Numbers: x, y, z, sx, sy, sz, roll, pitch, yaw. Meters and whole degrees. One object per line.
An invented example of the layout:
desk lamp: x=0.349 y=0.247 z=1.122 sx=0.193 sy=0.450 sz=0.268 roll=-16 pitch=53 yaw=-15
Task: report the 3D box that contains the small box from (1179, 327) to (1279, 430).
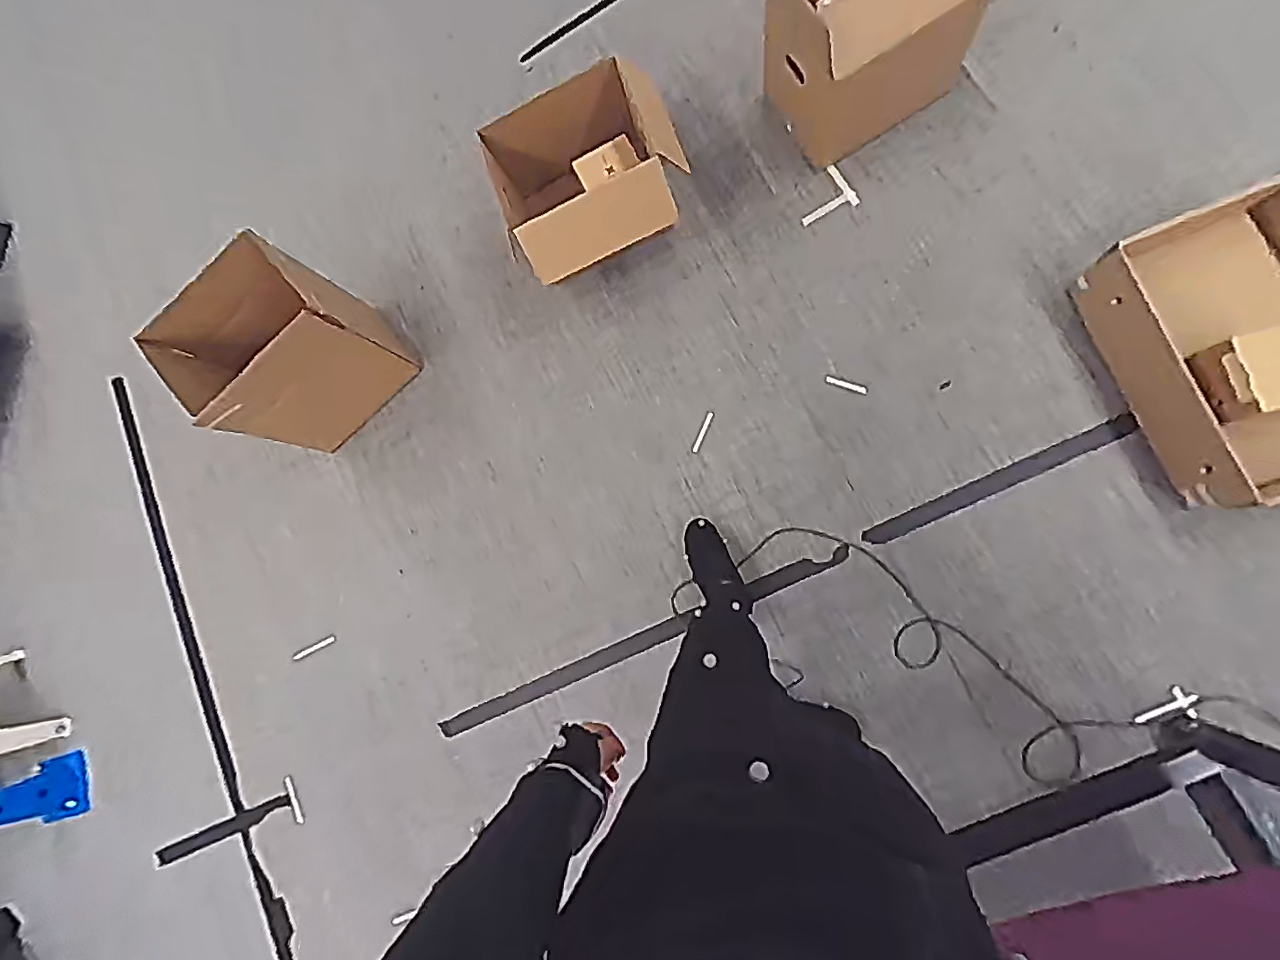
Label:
small box: x=1.297 y=-0.214 z=1.133 sx=0.179 sy=0.176 sz=0.168 roll=-14 pitch=81 yaw=10
